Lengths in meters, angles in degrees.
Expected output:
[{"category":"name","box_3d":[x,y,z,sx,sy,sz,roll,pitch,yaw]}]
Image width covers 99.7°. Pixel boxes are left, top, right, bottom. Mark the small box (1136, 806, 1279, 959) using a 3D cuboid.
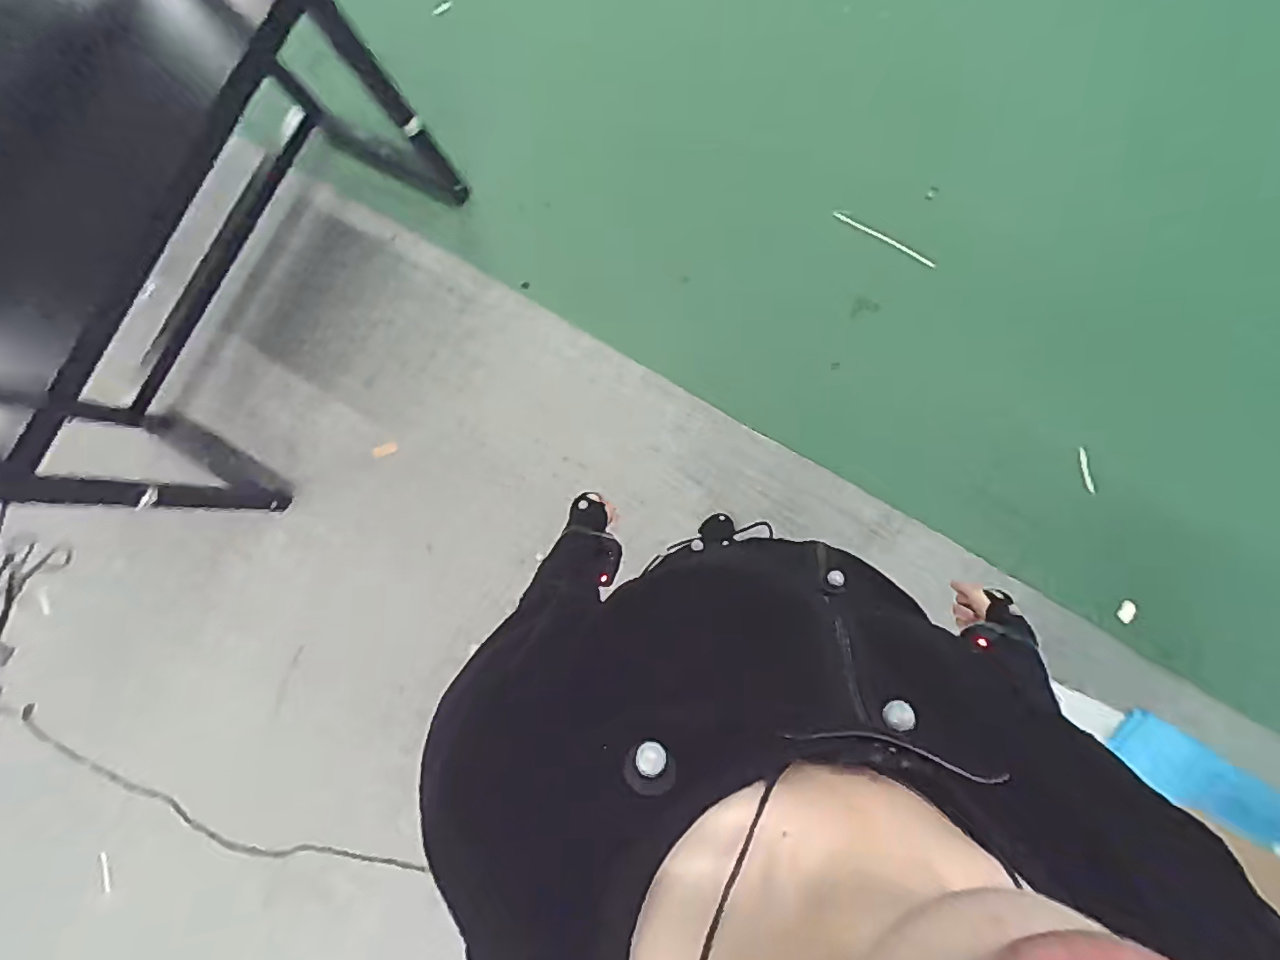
[{"category":"small box","box_3d":[0.828,0.590,0.717,0.168,0.176,0.179,33,89,7]}]
